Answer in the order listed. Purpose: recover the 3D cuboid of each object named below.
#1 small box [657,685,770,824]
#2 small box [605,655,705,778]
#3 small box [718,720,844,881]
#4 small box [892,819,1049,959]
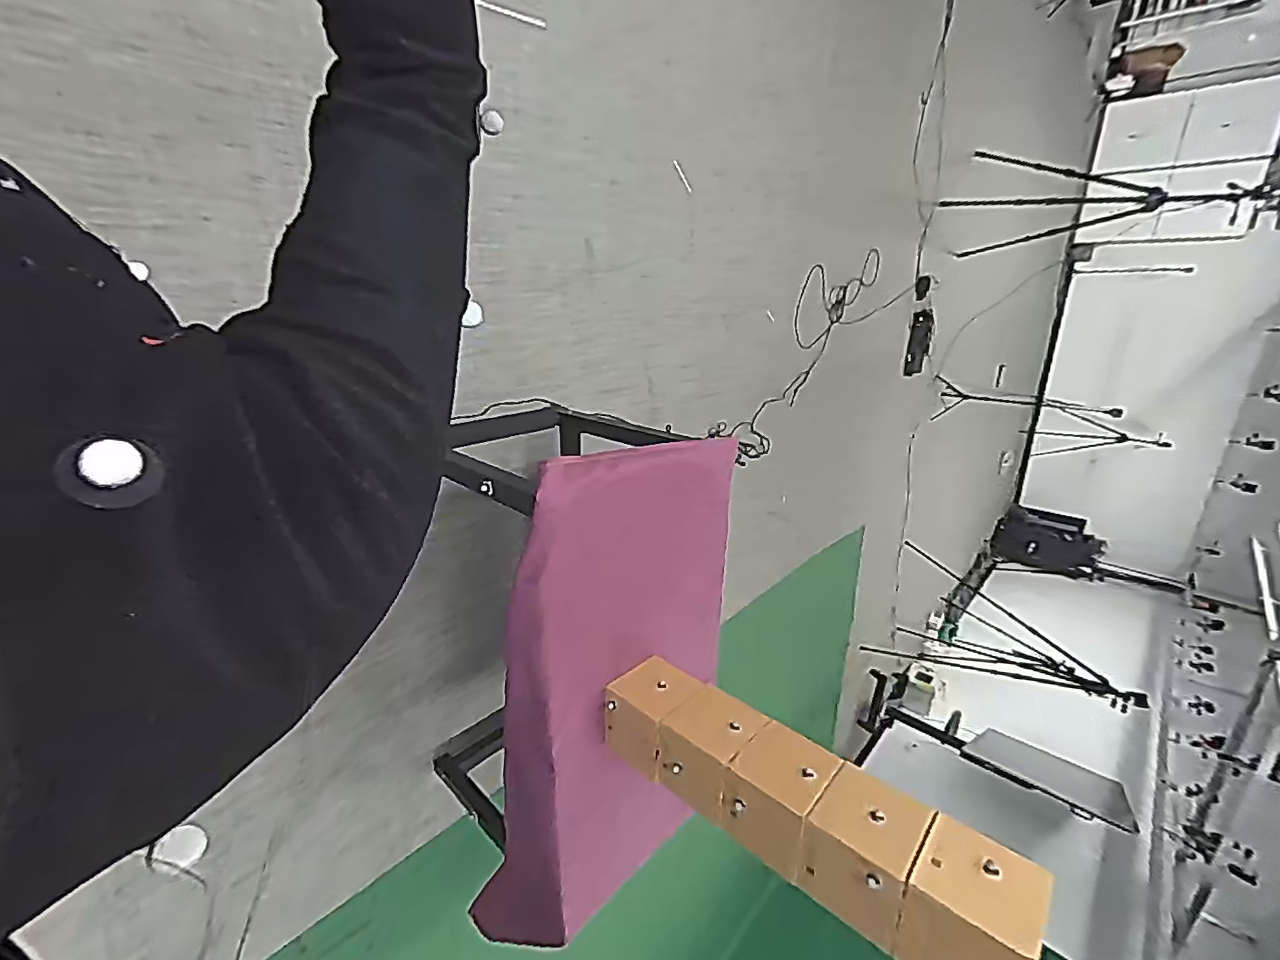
[{"bbox_3d":[0.156,0.579,1.169,0.179,0.176,0.168,-17,114,-43],"label":"small box"},{"bbox_3d":[0.032,0.545,1.272,0.179,0.176,0.168,-17,115,-44],"label":"small box"},{"bbox_3d":[0.276,0.615,1.066,0.179,0.176,0.168,-17,115,-43],"label":"small box"},{"bbox_3d":[0.517,0.683,0.855,0.168,0.176,0.179,-18,116,-44],"label":"small box"}]
